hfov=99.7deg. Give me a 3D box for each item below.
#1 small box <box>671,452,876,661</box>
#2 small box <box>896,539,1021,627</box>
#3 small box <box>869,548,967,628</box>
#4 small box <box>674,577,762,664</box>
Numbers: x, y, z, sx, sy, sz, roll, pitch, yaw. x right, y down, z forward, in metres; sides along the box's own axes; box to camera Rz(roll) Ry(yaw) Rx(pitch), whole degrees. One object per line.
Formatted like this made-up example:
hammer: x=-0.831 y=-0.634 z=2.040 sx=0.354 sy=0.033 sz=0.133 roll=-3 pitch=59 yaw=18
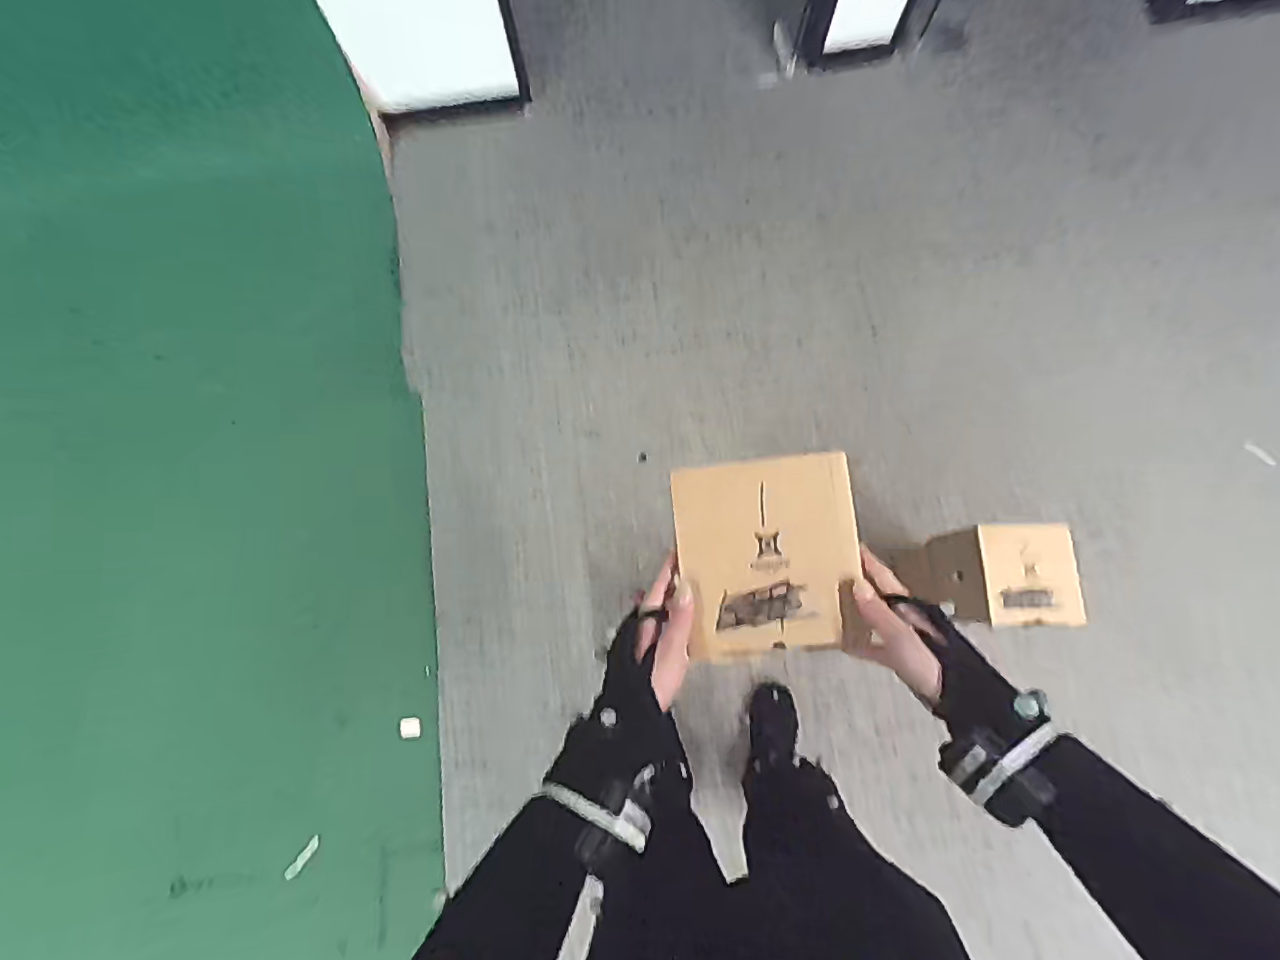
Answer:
small box: x=0.123 y=0.074 z=0.563 sx=0.168 sy=0.176 sz=0.179 roll=-6 pitch=84 yaw=2
small box: x=0.682 y=0.227 z=1.182 sx=0.168 sy=0.176 sz=0.179 roll=-2 pitch=77 yaw=0
small box: x=0.678 y=0.267 z=1.337 sx=0.168 sy=0.176 sz=0.179 roll=3 pitch=78 yaw=4
small box: x=0.163 y=0.295 z=1.175 sx=0.168 sy=0.176 sz=0.179 roll=-3 pitch=78 yaw=0
